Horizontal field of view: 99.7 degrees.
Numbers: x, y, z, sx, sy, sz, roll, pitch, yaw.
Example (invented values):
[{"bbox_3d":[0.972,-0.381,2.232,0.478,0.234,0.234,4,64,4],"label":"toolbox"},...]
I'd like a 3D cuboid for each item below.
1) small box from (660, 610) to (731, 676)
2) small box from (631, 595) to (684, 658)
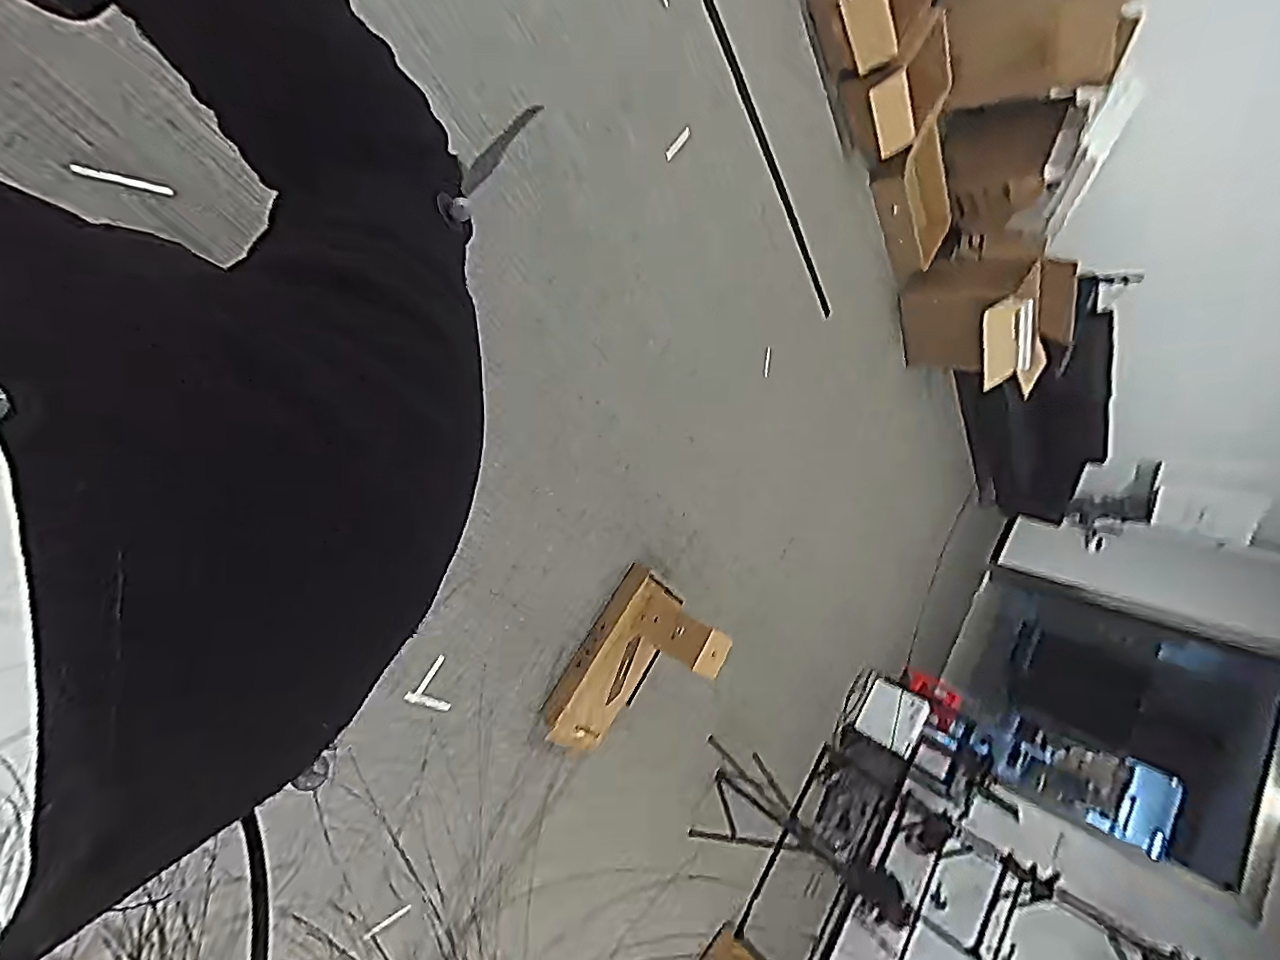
[{"bbox_3d":[0.209,0.617,2.061,0.179,0.176,0.168,39,75,-43],"label":"small box"},{"bbox_3d":[0.096,0.584,2.174,0.168,0.176,0.179,-56,133,-15],"label":"small box"}]
